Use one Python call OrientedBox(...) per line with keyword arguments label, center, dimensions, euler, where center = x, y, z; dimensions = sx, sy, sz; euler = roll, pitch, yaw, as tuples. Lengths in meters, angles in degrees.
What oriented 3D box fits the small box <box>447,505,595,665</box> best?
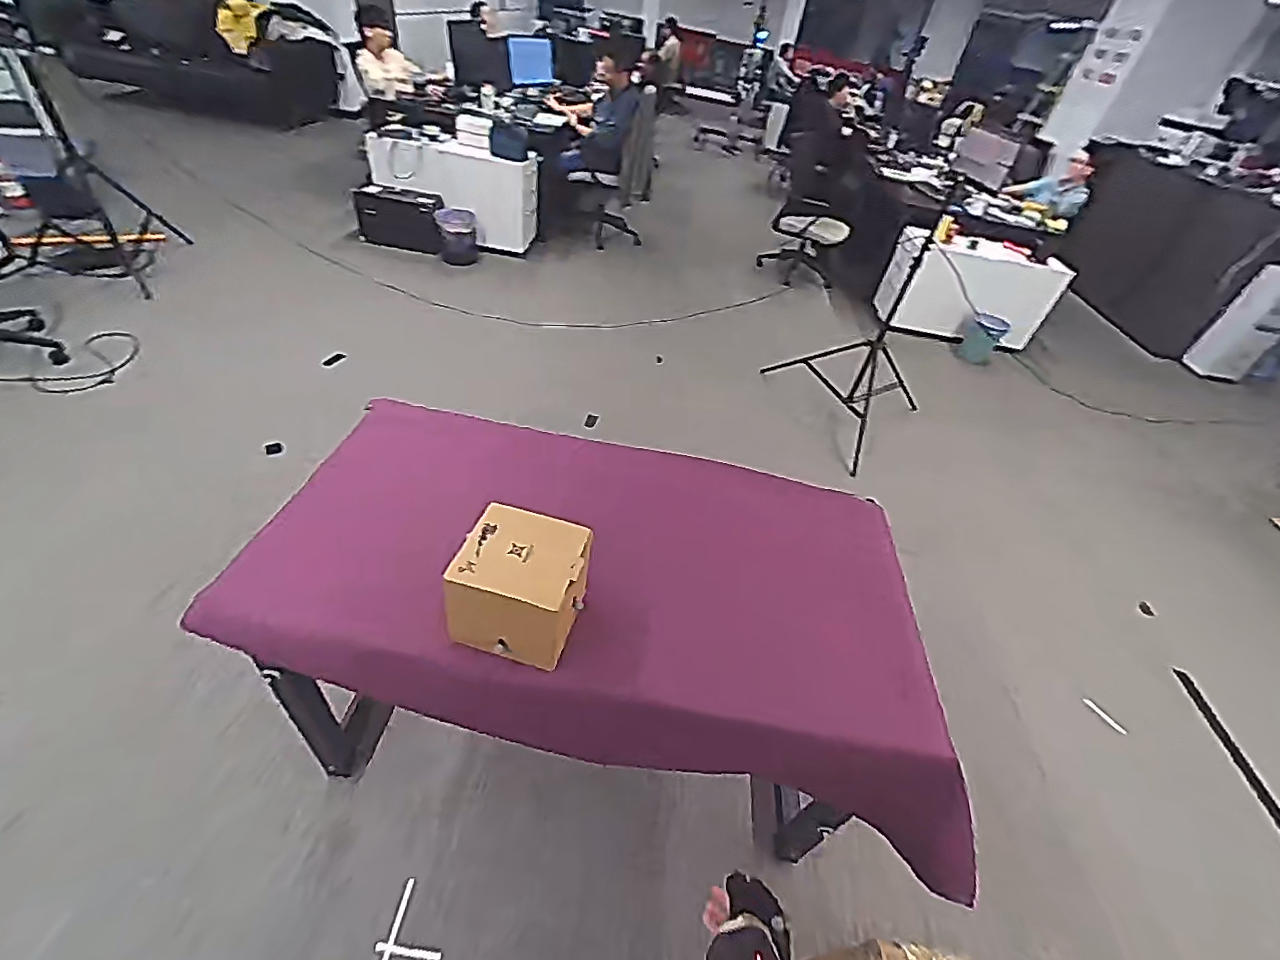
OrientedBox(label="small box", center=(-0.185, 0.172, 0.871), dimensions=(0.179, 0.176, 0.168), euler=(16, 41, 4))
